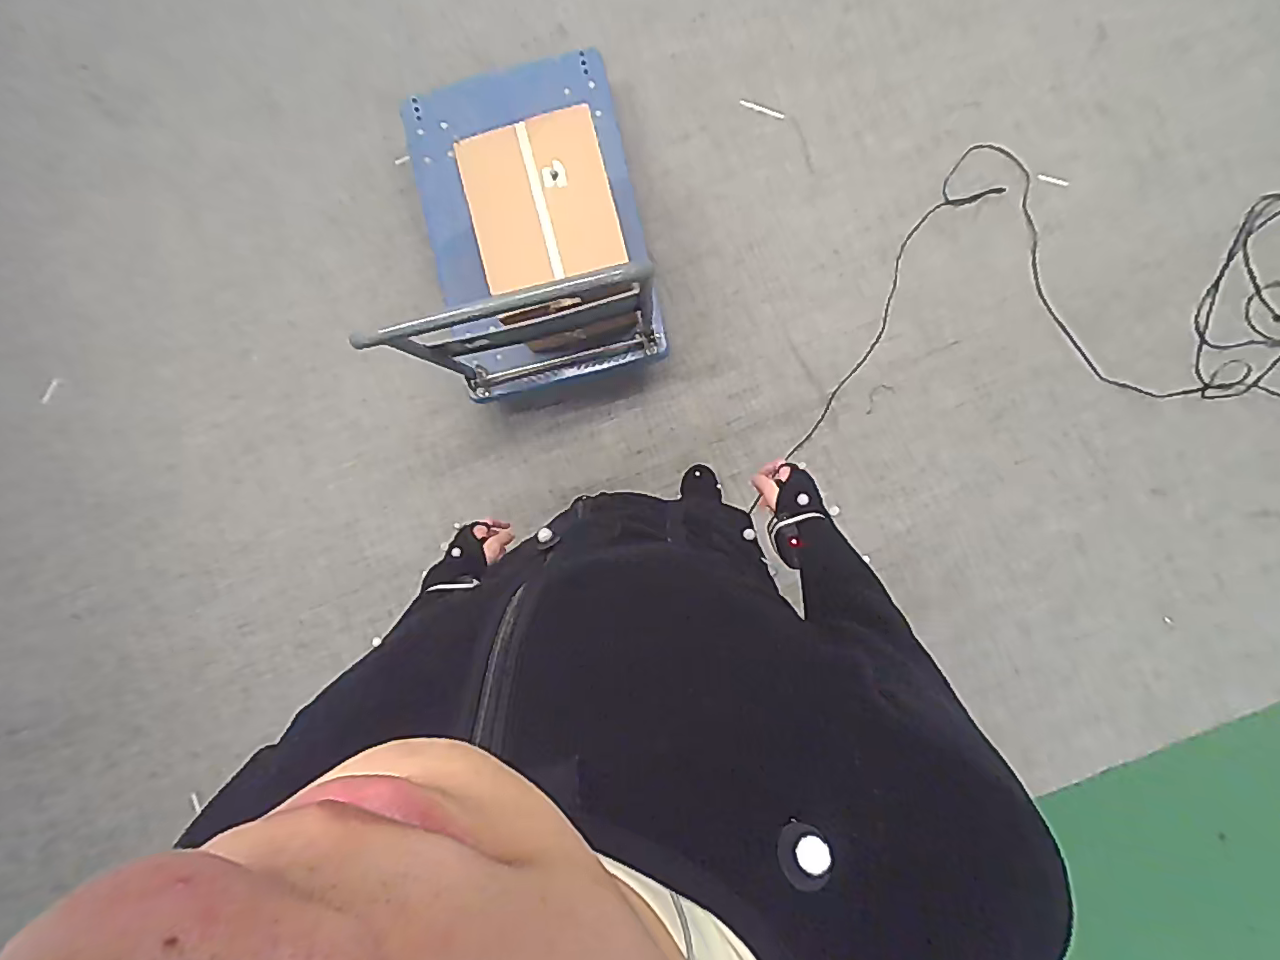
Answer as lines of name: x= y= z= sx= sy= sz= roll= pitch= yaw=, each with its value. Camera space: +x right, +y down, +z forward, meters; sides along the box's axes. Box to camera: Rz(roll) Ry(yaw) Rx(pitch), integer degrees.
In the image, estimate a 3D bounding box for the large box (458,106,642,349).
large box: x=-0.196 y=-0.583 z=1.322 sx=0.320 sy=0.320 sz=0.408 roll=-14 pitch=89 yaw=2
